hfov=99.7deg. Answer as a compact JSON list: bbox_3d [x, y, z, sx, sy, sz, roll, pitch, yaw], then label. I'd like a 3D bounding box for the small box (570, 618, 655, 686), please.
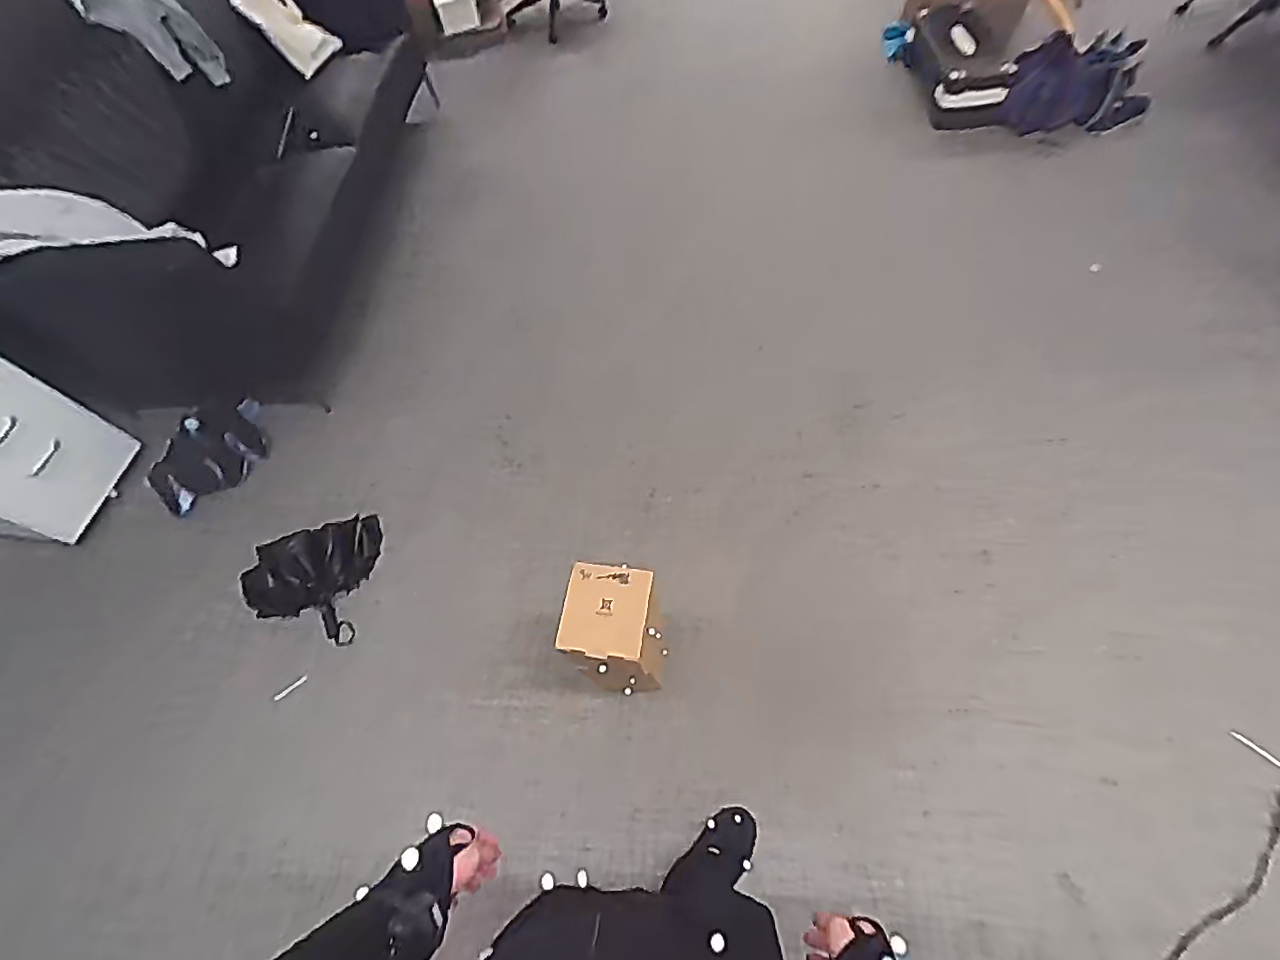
[{"bbox_3d":[-0.054,0.368,1.236,0.168,0.176,0.179,0,61,6],"label":"small box"}]

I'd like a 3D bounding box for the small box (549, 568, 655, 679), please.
[{"bbox_3d":[-0.066,0.295,1.091,0.168,0.176,0.179,6,64,9],"label":"small box"}]

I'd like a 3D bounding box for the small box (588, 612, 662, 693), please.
[{"bbox_3d":[-0.035,0.440,1.380,0.168,0.176,0.179,-1,63,7],"label":"small box"}]
